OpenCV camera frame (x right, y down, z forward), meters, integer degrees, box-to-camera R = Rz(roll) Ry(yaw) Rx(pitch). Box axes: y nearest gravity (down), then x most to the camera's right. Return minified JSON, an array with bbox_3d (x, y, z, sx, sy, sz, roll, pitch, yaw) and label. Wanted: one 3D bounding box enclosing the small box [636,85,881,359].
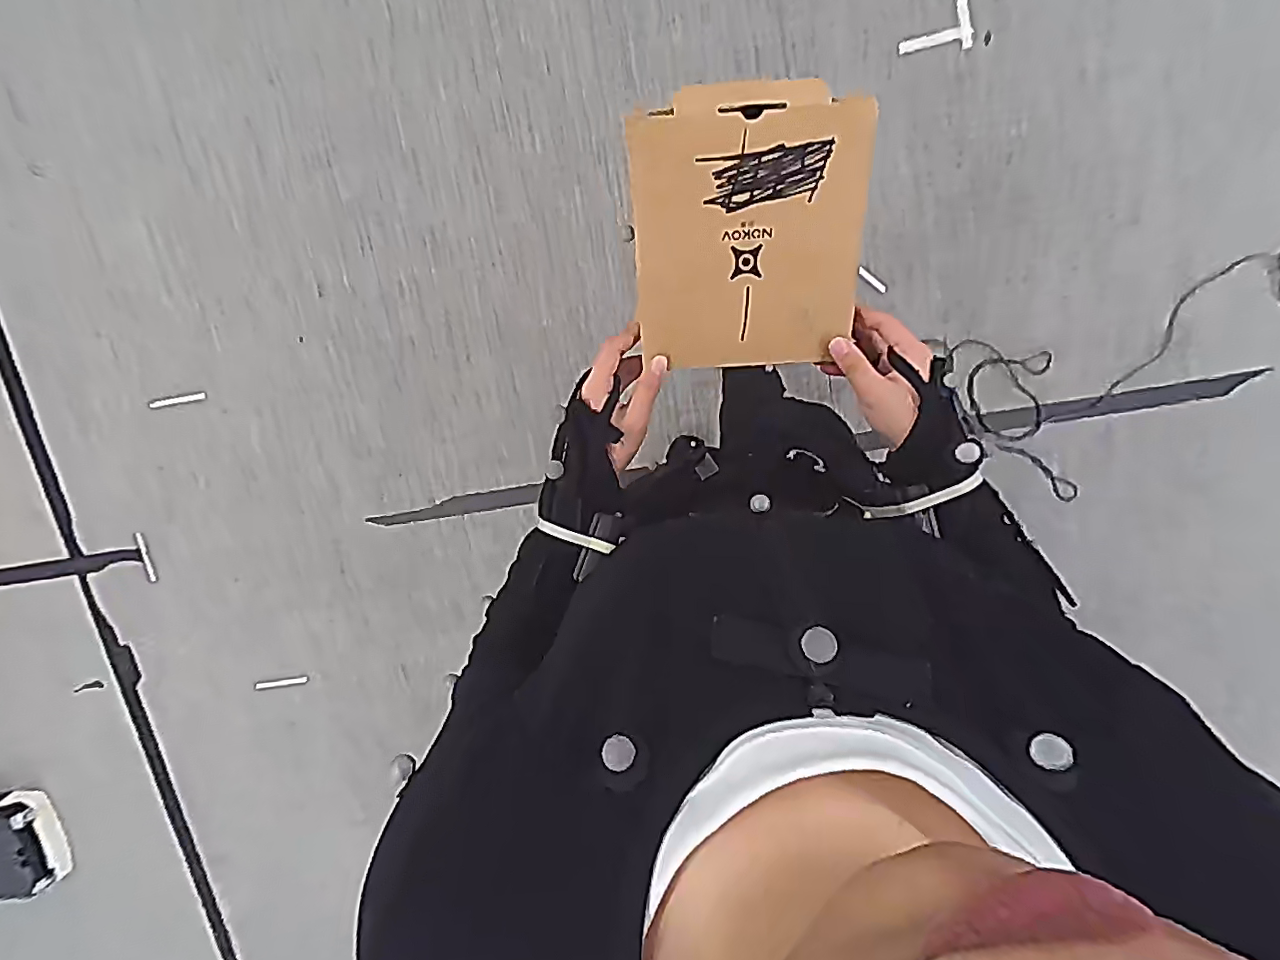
[{"bbox_3d":[0.082,-0.213,0.463,0.168,0.176,0.179,-2,118,2],"label":"small box"}]
